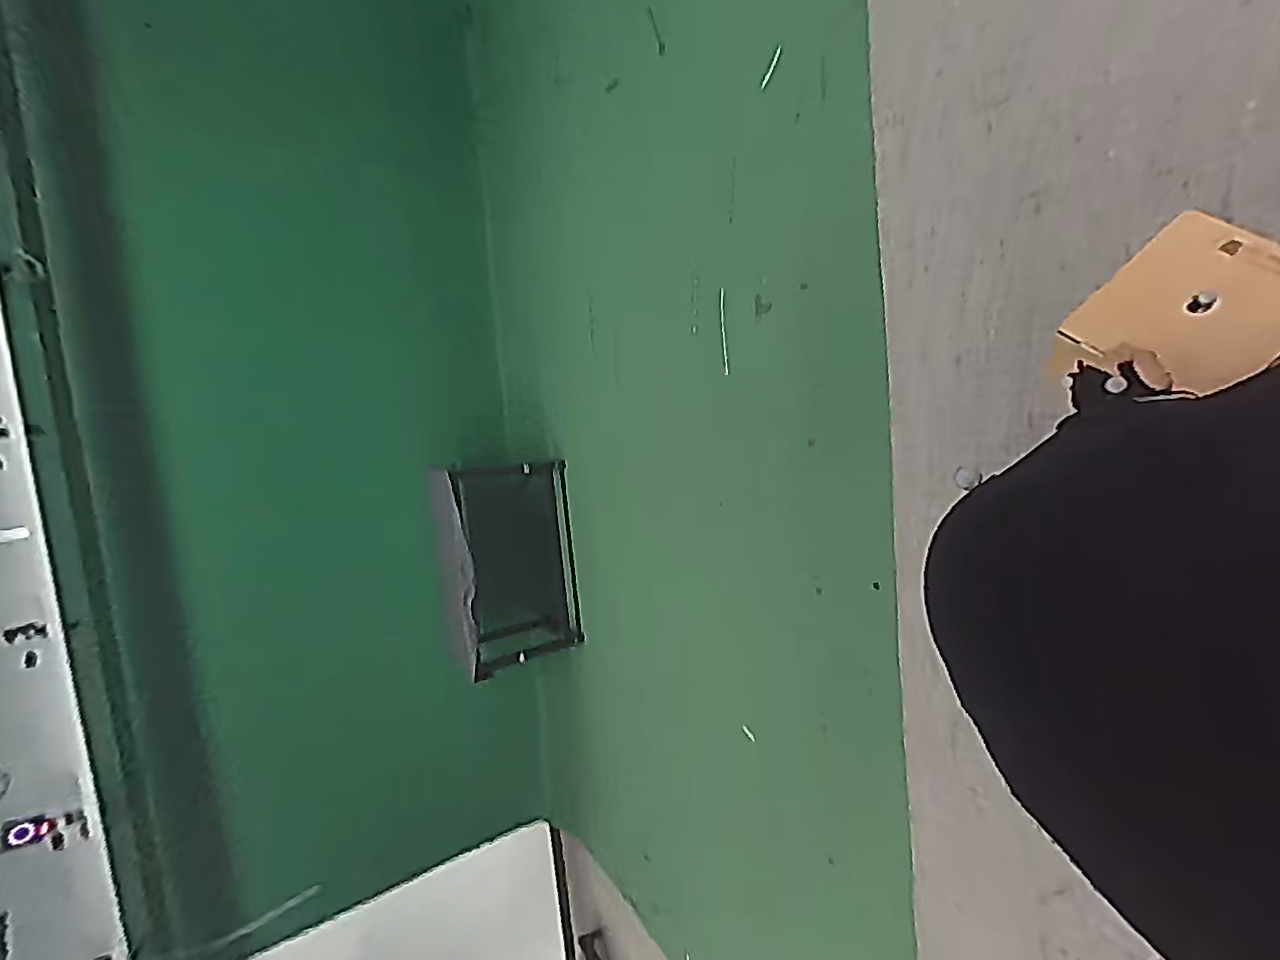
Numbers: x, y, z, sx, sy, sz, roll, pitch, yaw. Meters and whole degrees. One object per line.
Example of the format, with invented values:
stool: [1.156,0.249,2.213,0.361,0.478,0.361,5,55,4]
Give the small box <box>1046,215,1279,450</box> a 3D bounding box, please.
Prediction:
small box: [0.629,-0.167,0.631,0.176,0.179,0.168,-46,60,13]
